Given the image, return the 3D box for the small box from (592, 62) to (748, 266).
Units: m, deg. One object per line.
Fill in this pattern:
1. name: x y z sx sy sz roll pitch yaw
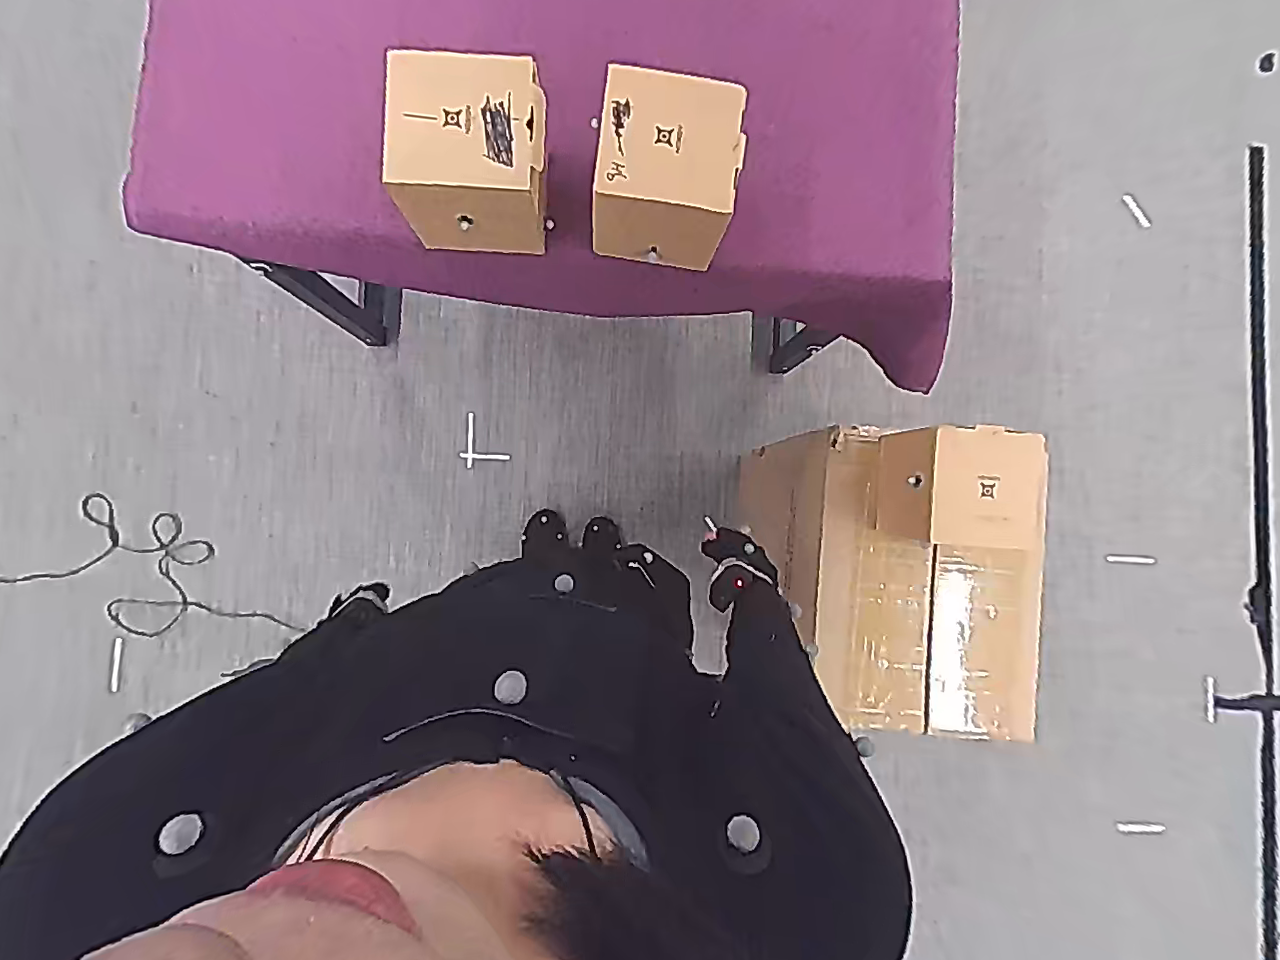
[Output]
1. small box: 0.032 -0.415 0.743 0.179 0.176 0.168 7 86 -5

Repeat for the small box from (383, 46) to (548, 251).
1. small box: -0.218 -0.425 0.722 0.179 0.176 0.168 2 87 -3

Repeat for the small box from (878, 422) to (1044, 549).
1. small box: 0.501 0.010 0.865 0.168 0.176 0.179 4 89 -2
